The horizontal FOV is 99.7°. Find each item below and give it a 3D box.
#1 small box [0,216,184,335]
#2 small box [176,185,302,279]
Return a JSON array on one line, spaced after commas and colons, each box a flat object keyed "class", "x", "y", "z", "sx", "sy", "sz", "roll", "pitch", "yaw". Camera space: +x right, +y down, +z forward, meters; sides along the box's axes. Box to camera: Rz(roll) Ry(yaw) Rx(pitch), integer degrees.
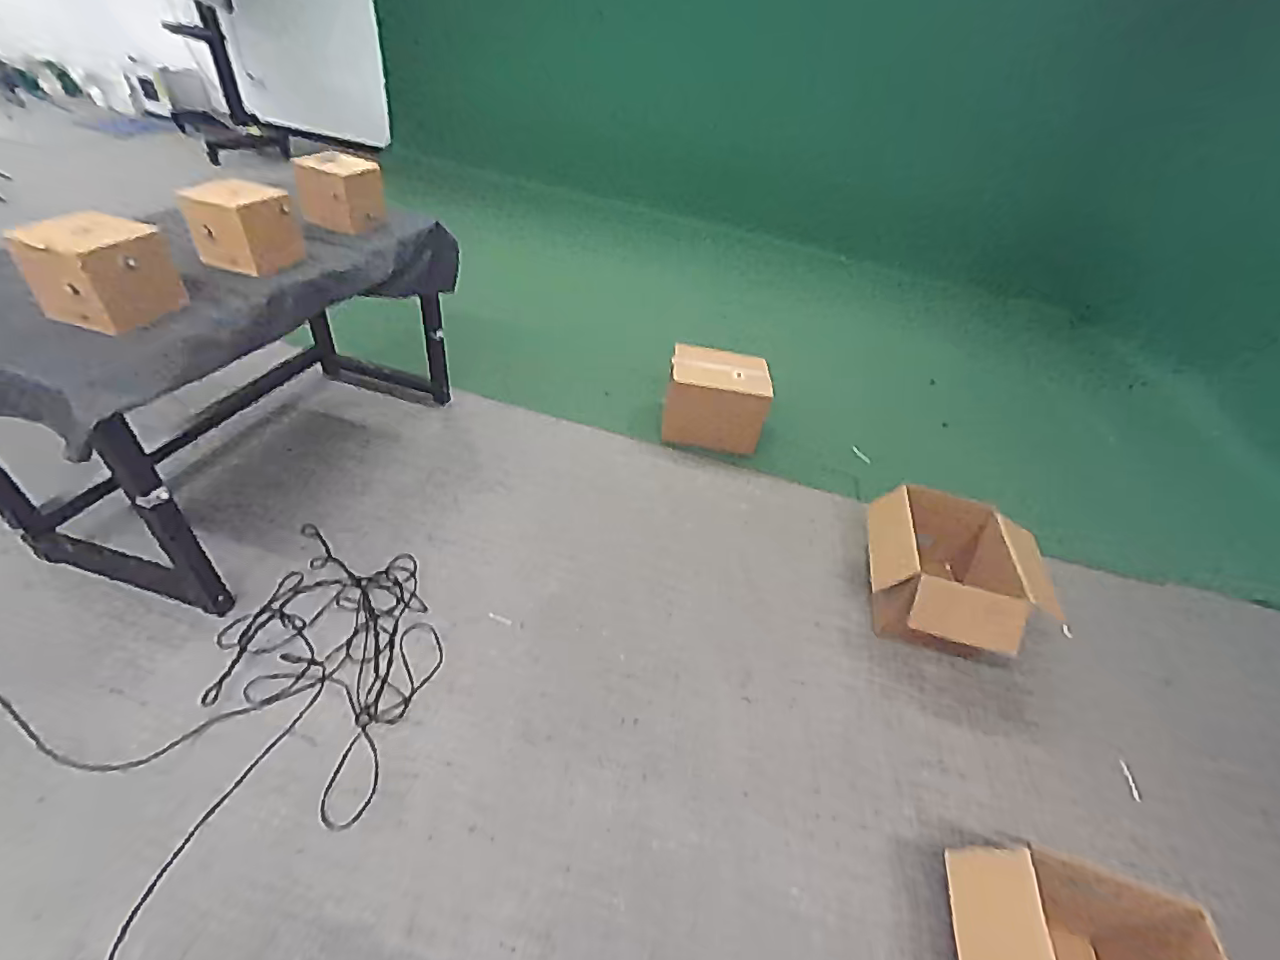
[{"class": "small box", "x": -1.091, "y": -0.414, "z": 1.099, "sx": 0.168, "sy": 0.176, "sz": 0.179, "roll": 16, "pitch": 39, "yaw": 4}, {"class": "small box", "x": -1.000, "y": -0.627, "z": 1.371, "sx": 0.168, "sy": 0.176, "sz": 0.179, "roll": 16, "pitch": 40, "yaw": 6}]
